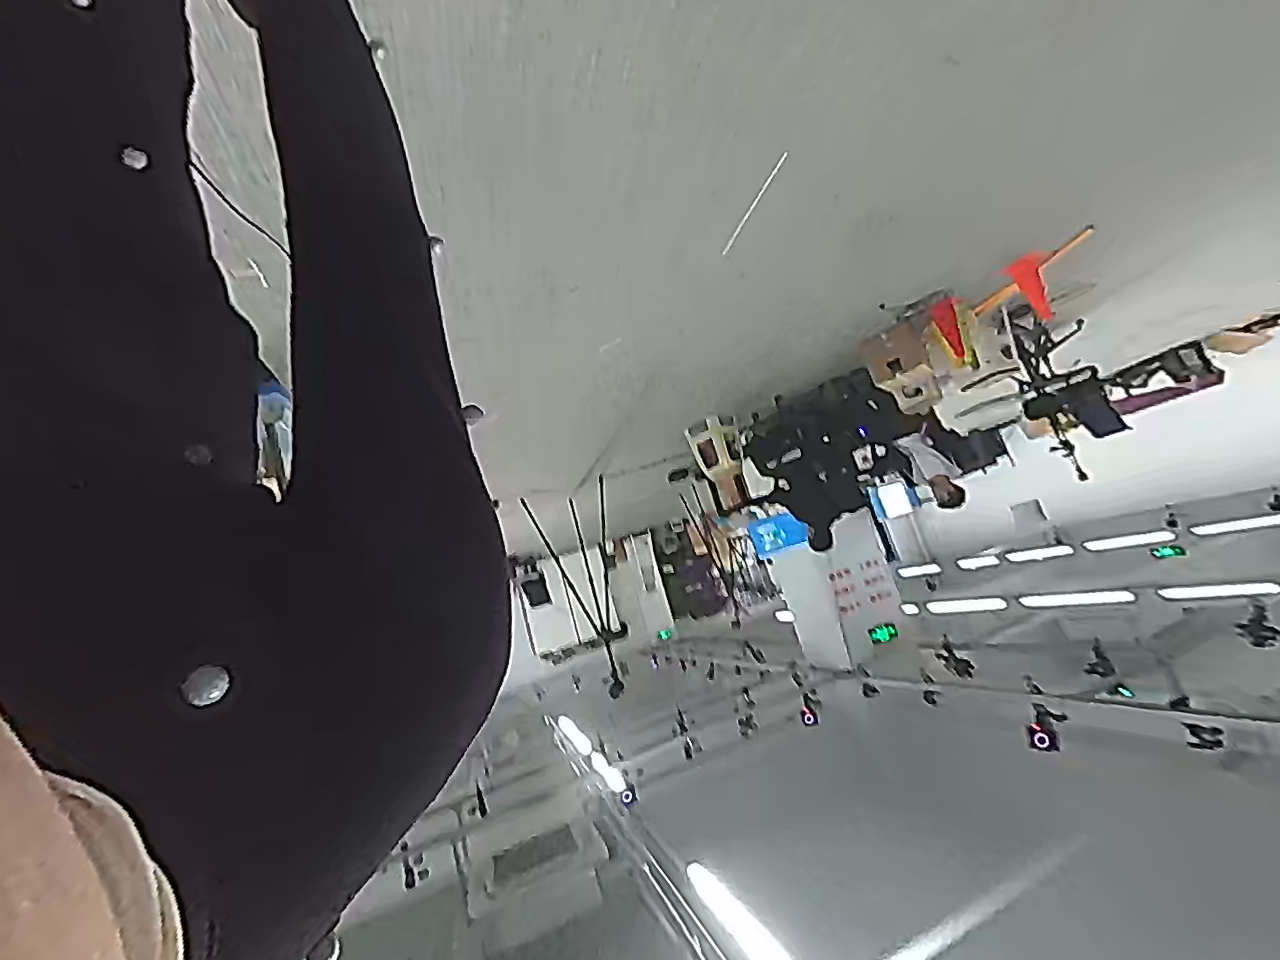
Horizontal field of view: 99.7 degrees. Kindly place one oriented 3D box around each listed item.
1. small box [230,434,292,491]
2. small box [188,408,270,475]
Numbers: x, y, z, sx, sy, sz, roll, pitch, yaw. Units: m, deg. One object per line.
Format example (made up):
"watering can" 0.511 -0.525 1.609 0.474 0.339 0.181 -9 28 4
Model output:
"small box" -1.479 -0.071 2.094 0.168 0.176 0.179 -12 170 -22
"small box" -1.405 -0.137 1.851 0.168 0.176 0.179 -14 169 -18
